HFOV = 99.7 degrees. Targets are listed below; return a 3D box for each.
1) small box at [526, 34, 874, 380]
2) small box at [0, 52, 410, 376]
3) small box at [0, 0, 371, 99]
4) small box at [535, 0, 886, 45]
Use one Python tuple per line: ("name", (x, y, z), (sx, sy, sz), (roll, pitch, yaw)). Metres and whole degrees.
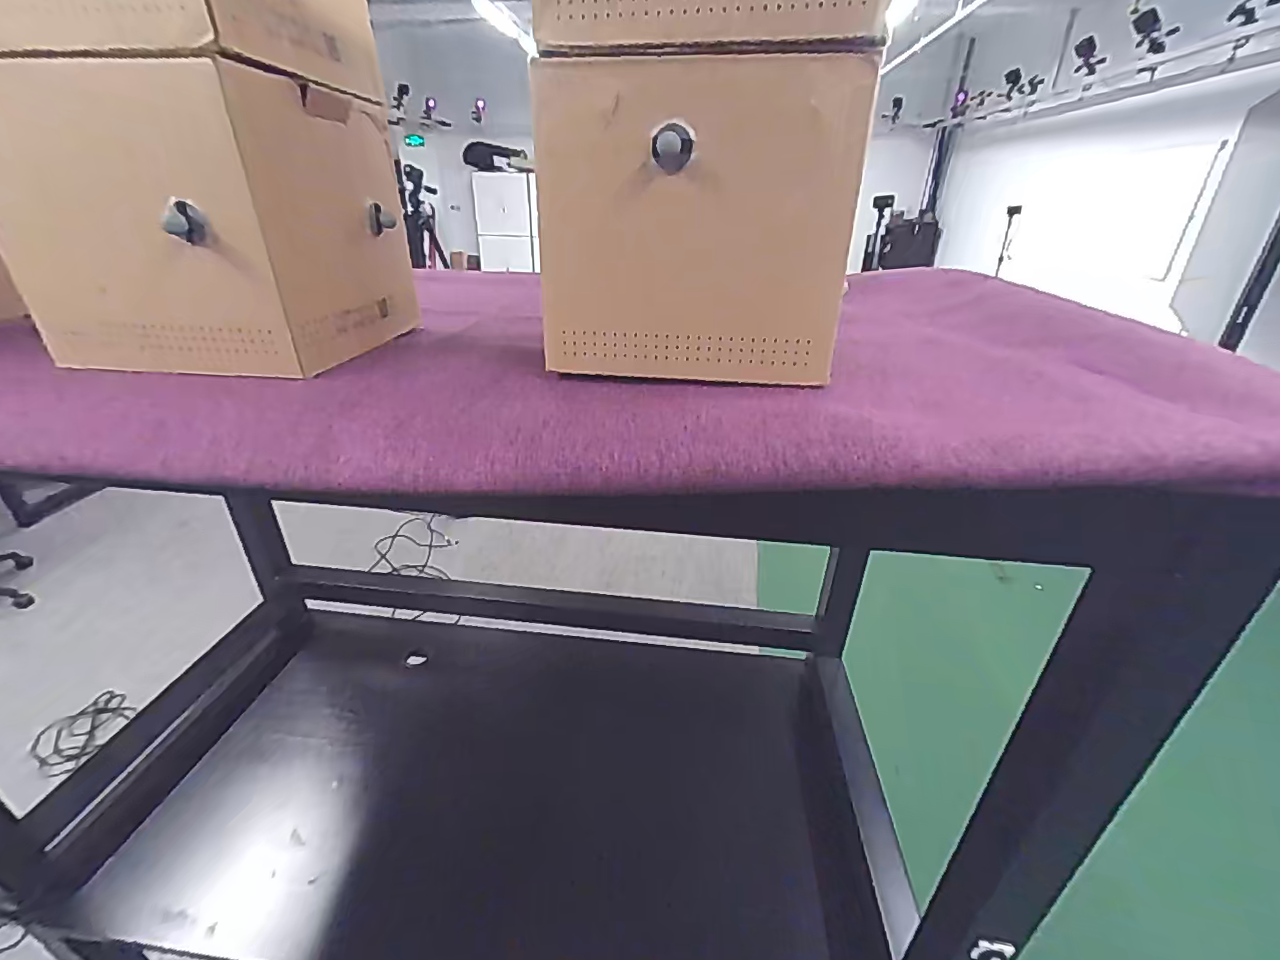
("small box", (0.037, -0.170, 0.368), (0.179, 0.176, 0.168), (5, 26, 7))
("small box", (-0.287, -0.175, 0.377), (0.179, 0.176, 0.168), (2, 28, 5))
("small box", (-0.288, -0.321, 0.304), (0.179, 0.176, 0.168), (2, 28, 3))
("small box", (0.042, -0.318, 0.298), (0.179, 0.176, 0.168), (4, 26, 8))
